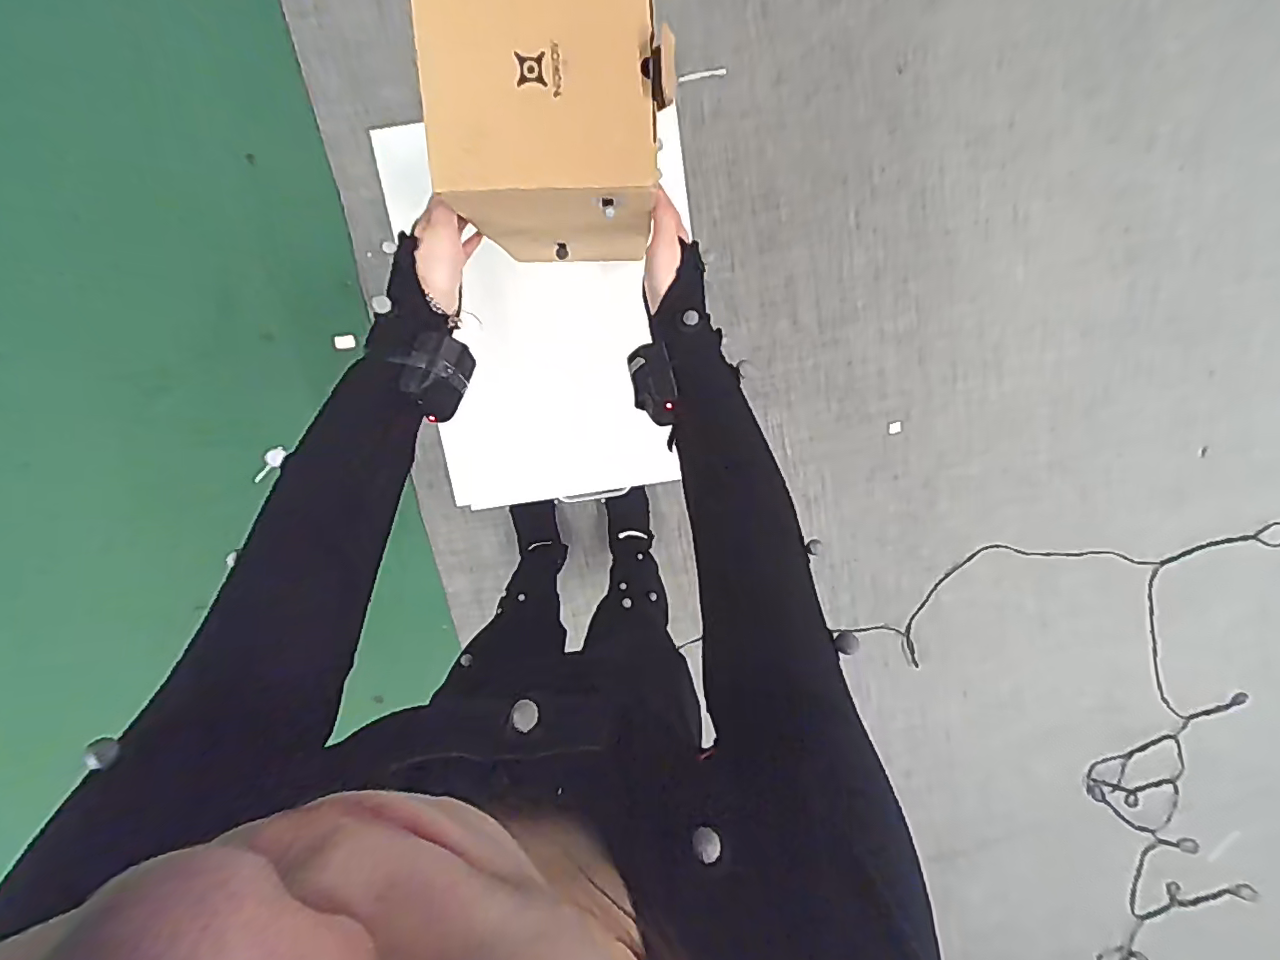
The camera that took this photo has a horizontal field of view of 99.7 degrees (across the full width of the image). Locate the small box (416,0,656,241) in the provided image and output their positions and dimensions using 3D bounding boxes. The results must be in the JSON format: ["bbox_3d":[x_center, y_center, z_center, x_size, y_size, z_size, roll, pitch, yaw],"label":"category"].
[{"bbox_3d":[-0.077,-0.319,0.481,0.179,0.176,0.168,-2,102,-2],"label":"small box"}]

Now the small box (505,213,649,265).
[{"bbox_3d":[-0.080,-0.356,0.640,0.179,0.176,0.168,-2,102,-2],"label":"small box"}]
